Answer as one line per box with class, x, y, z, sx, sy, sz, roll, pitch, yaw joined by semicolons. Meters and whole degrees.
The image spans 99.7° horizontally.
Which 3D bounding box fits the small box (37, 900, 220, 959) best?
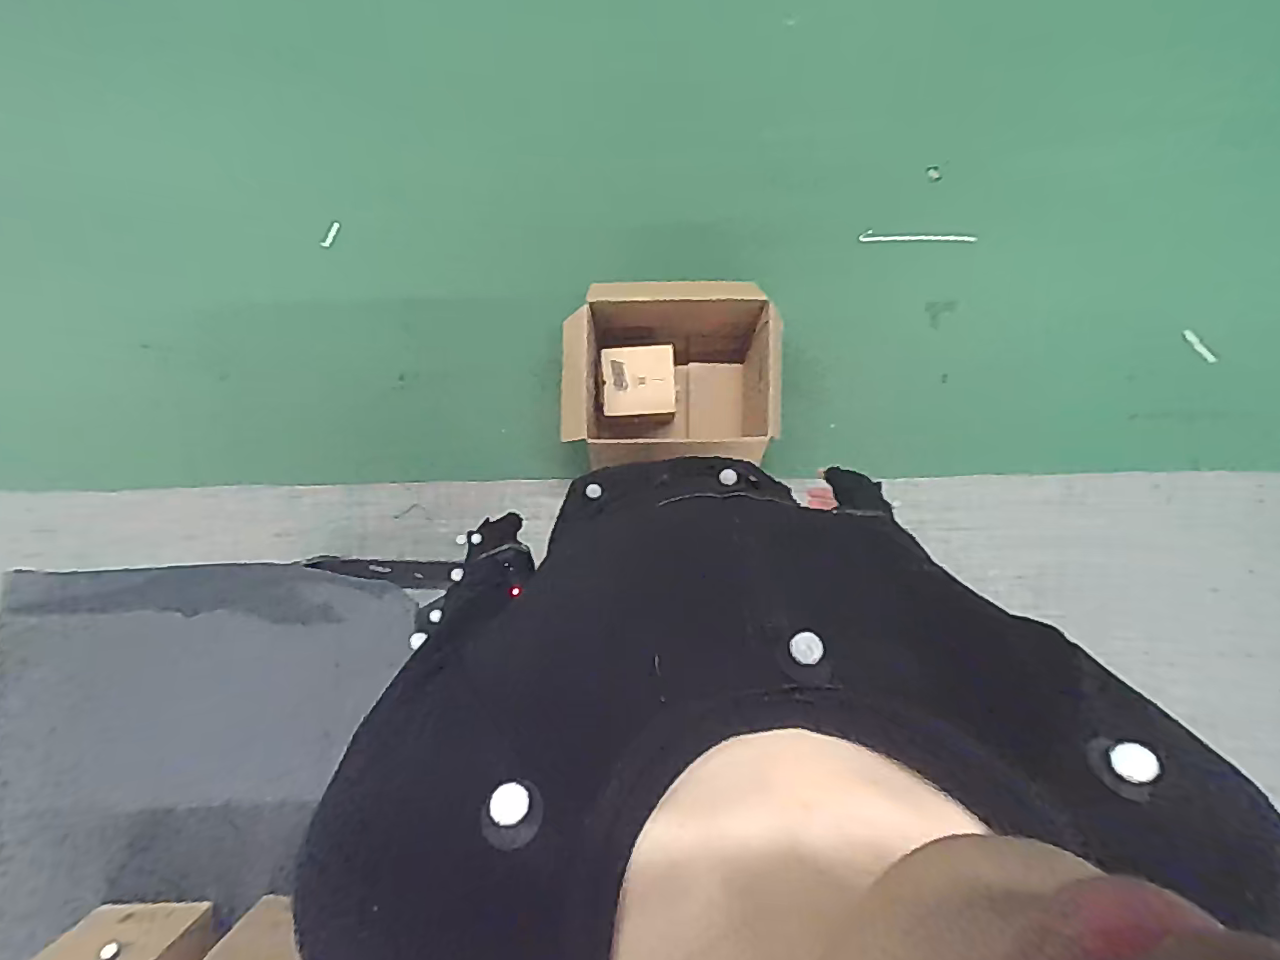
small box;-0.674;0.675;0.686;0.168;0.176;0.179;-3;91;1
